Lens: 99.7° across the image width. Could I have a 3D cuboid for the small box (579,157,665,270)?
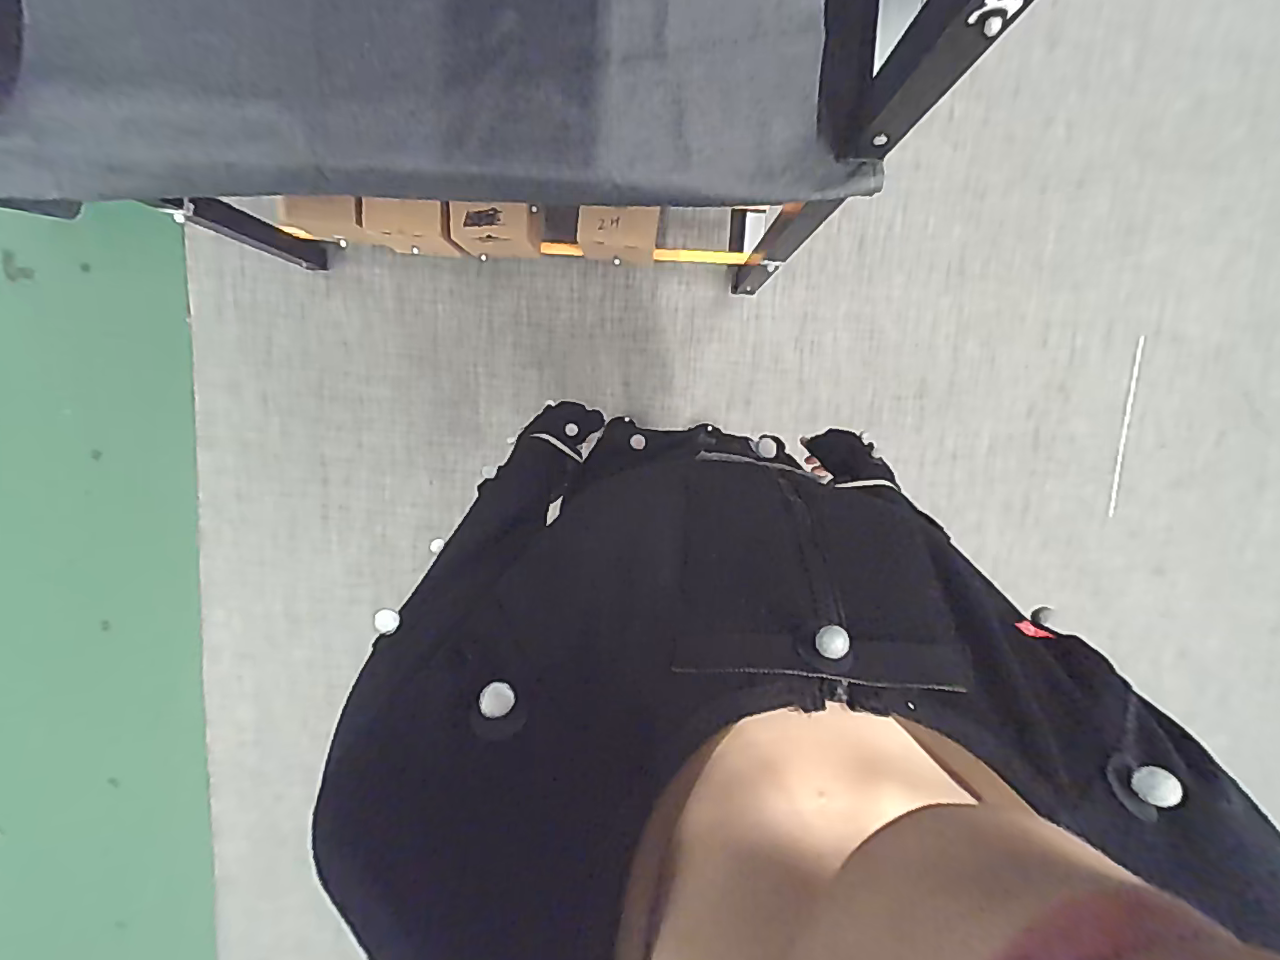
[{"bbox_3d":[-0.038,-0.596,1.226,0.168,0.176,0.179,8,99,0],"label":"small box"}]
